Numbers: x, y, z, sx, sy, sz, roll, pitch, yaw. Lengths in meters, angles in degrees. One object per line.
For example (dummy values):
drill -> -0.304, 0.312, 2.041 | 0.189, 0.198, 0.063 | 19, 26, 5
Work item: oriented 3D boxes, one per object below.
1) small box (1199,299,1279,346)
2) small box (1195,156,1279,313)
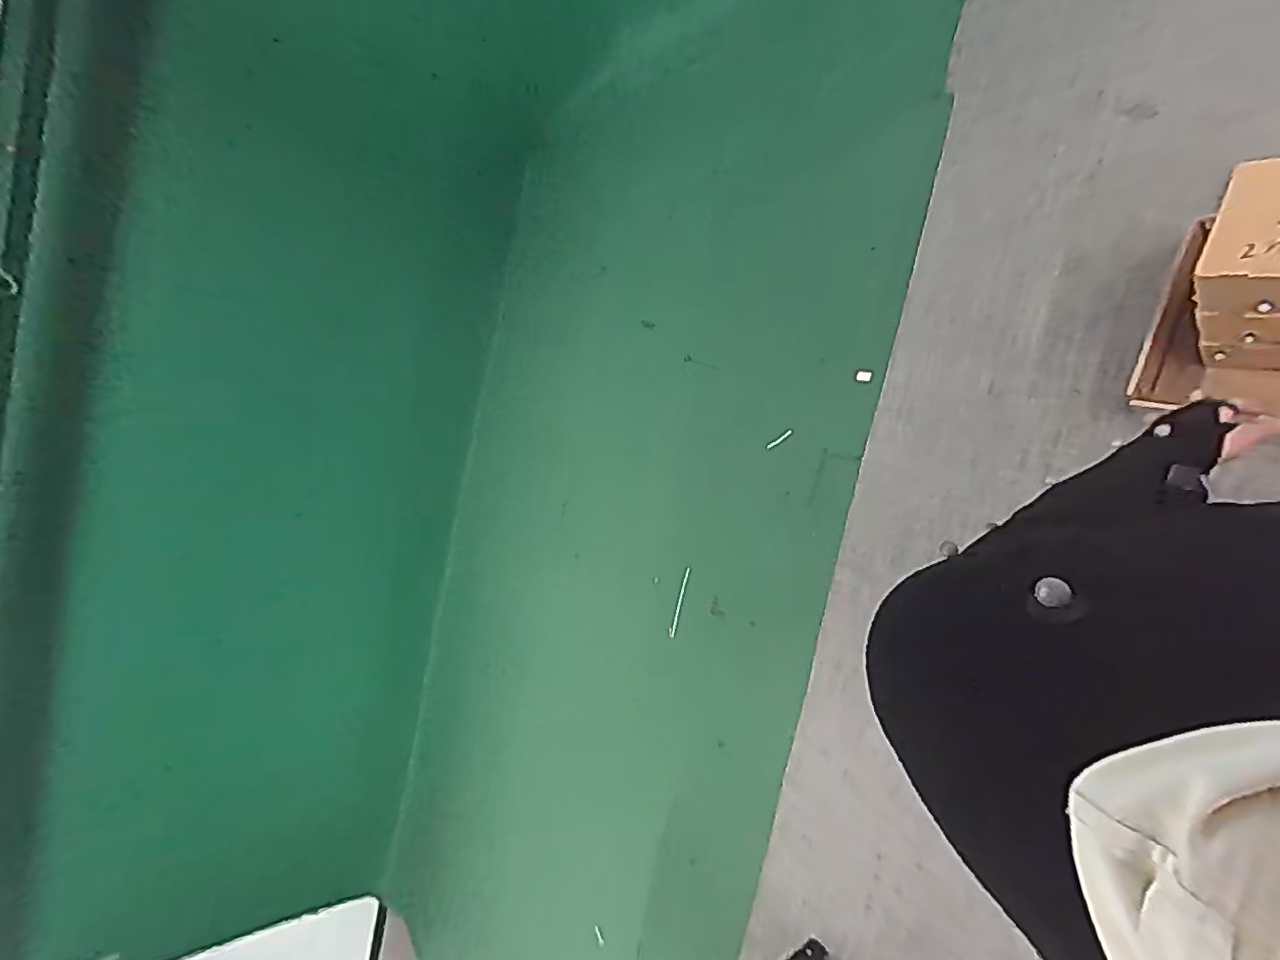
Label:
small box -> 1.112, -0.344, 0.932 | 0.168, 0.176, 0.179 | 24, 101, 48
small box -> 0.993, -0.369, 0.821 | 0.168, 0.176, 0.179 | 25, 102, 48
